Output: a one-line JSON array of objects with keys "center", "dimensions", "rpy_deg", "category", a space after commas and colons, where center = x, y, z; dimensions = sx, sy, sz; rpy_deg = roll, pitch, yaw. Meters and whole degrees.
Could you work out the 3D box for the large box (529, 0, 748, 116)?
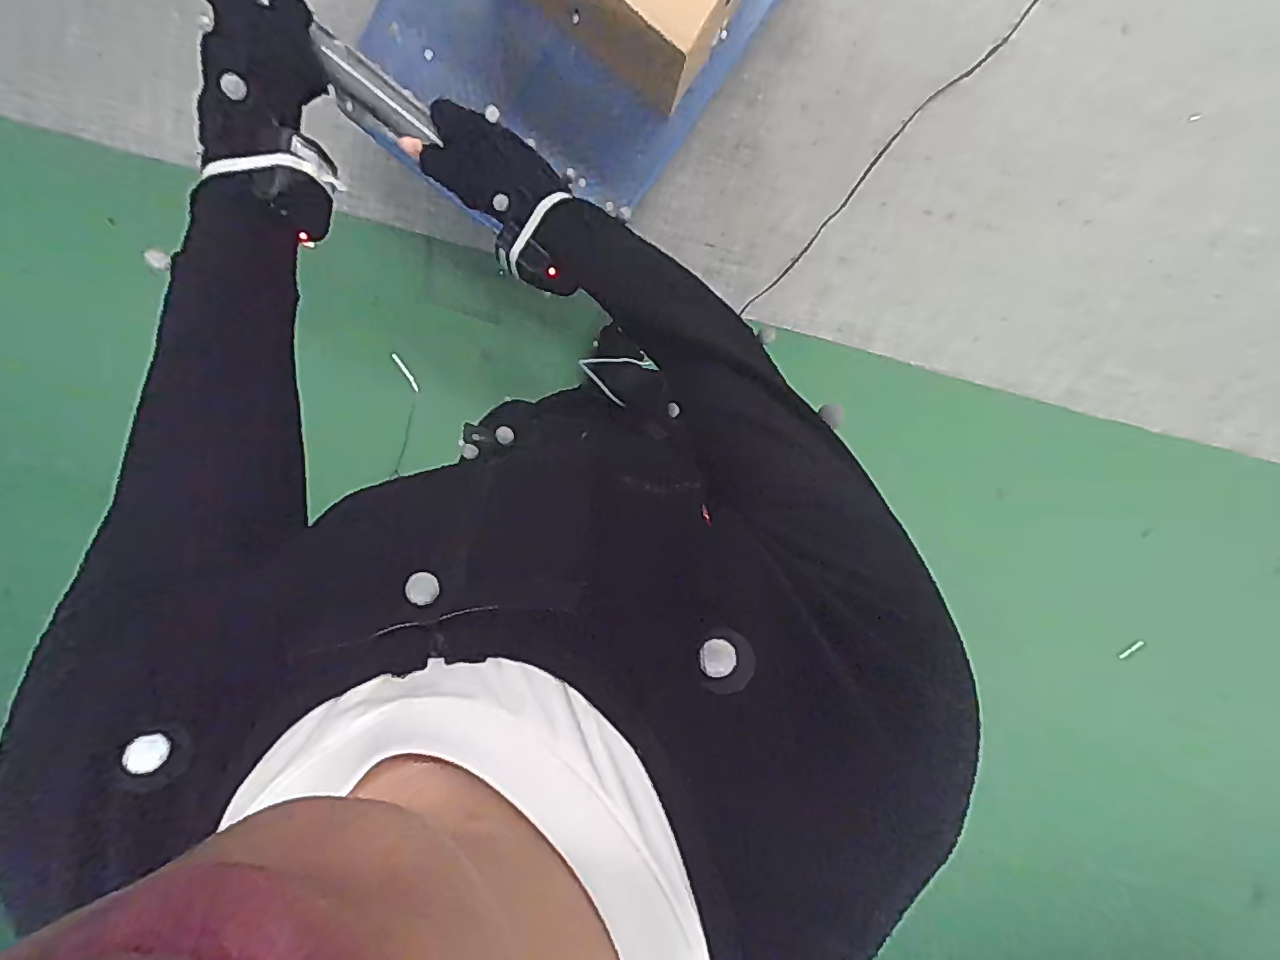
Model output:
[{"center": [-0.005, -0.886, 0.854], "dimensions": [0.408, 0.320, 0.320], "rpy_deg": [34, 104, -11], "category": "large box"}]
